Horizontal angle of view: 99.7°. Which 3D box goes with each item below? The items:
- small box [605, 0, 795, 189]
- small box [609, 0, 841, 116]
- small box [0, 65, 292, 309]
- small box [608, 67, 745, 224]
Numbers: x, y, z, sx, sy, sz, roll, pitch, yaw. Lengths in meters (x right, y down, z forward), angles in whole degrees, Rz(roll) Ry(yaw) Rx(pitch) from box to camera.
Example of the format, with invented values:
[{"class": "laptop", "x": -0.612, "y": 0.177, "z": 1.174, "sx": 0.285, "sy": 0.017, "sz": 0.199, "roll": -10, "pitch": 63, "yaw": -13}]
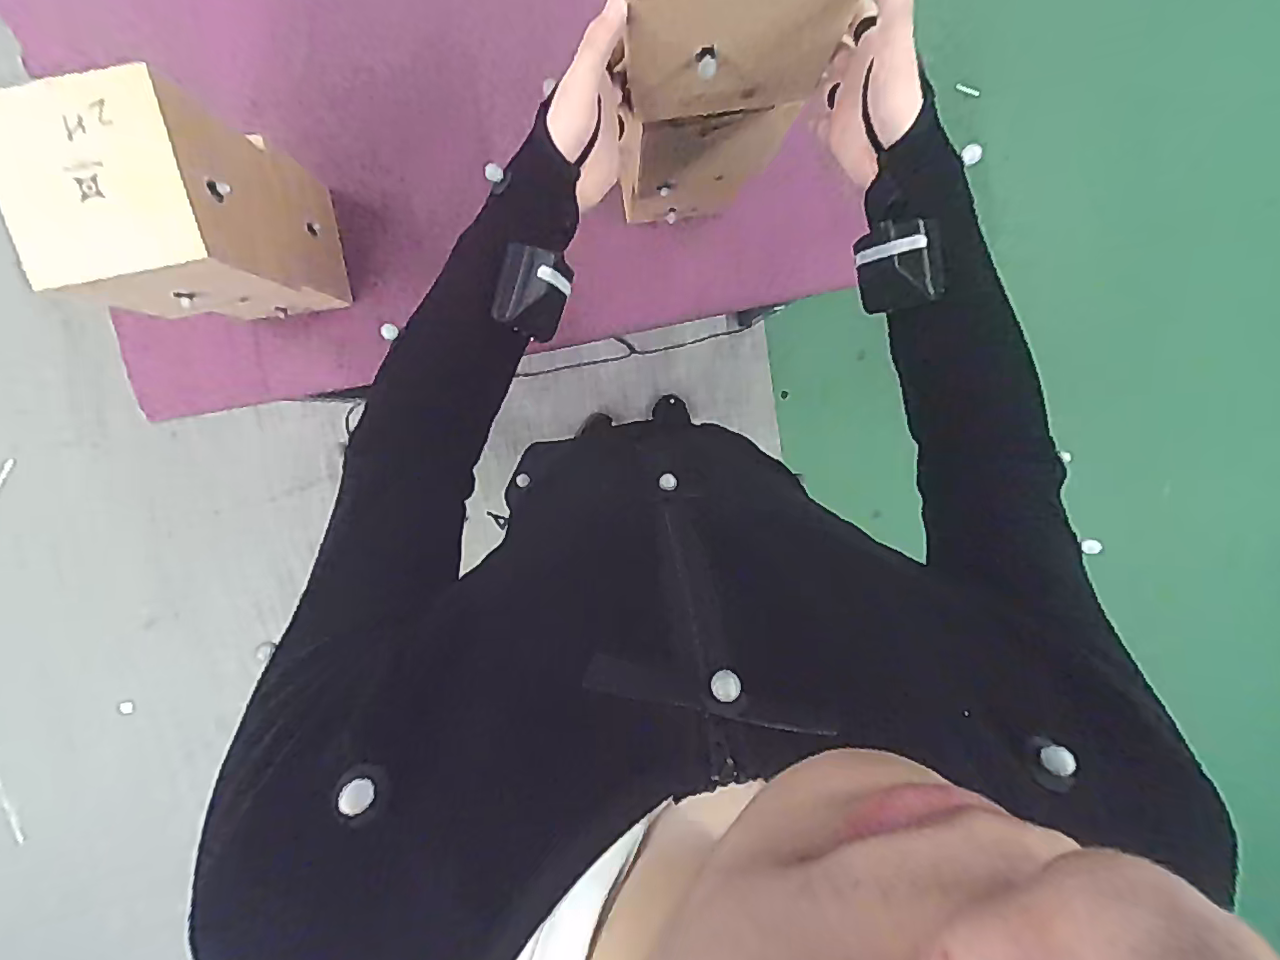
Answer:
[{"class": "small box", "x": 0.058, "y": -0.448, "z": 0.599, "sx": 0.168, "sy": 0.176, "sz": 0.179, "roll": -11, "pitch": 96, "yaw": -1}, {"class": "small box", "x": 0.059, "y": -0.409, "z": 0.411, "sx": 0.168, "sy": 0.176, "sz": 0.179, "roll": -5, "pitch": 98, "yaw": 4}, {"class": "small box", "x": -0.515, "y": -0.290, "z": 0.580, "sx": 0.168, "sy": 0.176, "sz": 0.179, "roll": -12, "pitch": 99, "yaw": -3}, {"class": "small box", "x": 0.047, "y": -0.487, "z": 0.759, "sx": 0.168, "sy": 0.176, "sz": 0.179, "roll": -9, "pitch": 97, "yaw": -1}]
